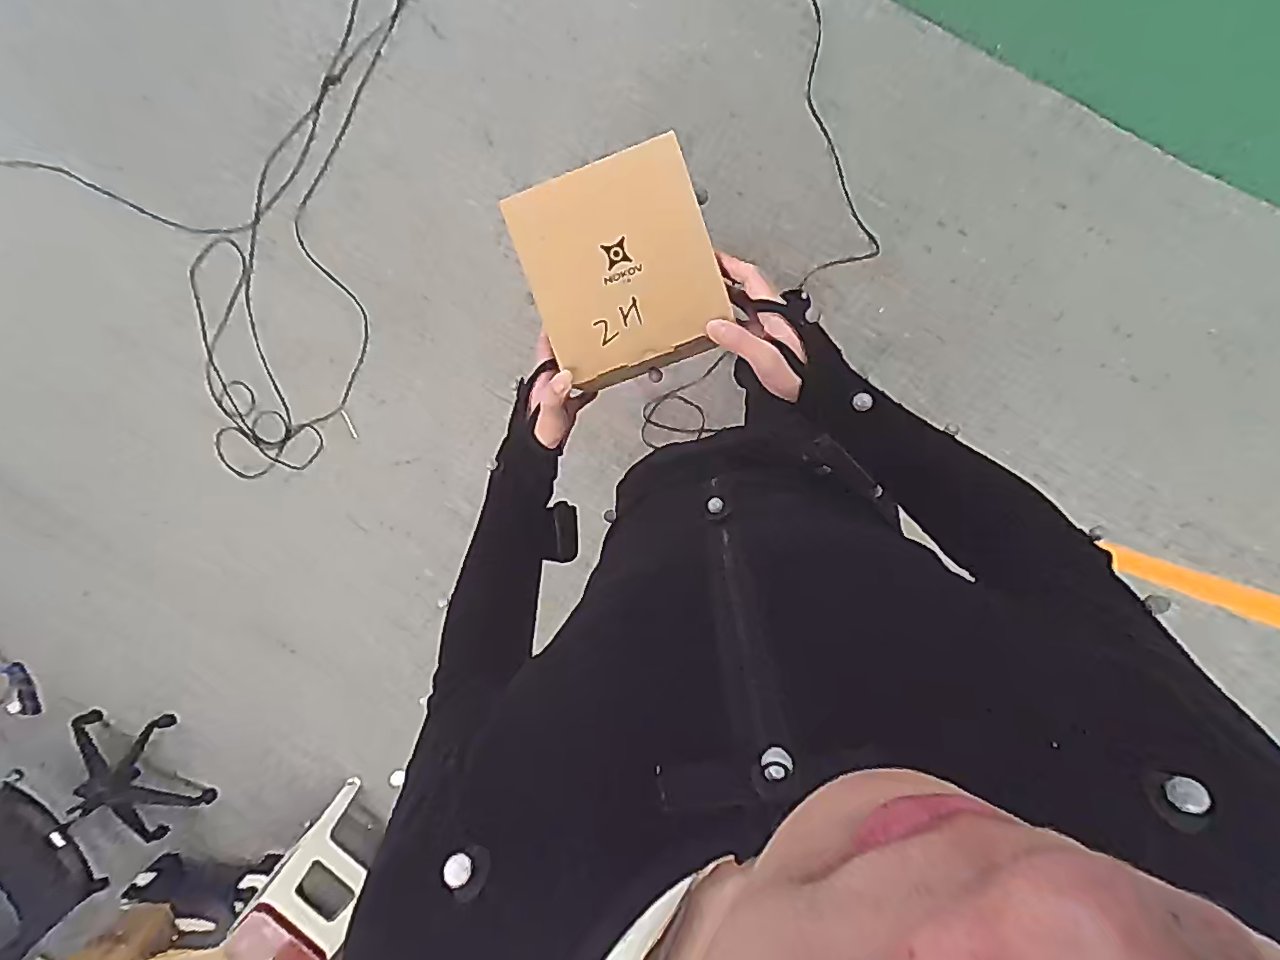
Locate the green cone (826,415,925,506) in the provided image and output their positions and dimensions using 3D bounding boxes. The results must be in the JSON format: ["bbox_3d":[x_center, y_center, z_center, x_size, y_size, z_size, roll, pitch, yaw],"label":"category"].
[{"bbox_3d":[0.615,-0.018,1.319,0.202,0.368,0.200,31,105,2],"label":"green cone"}]
